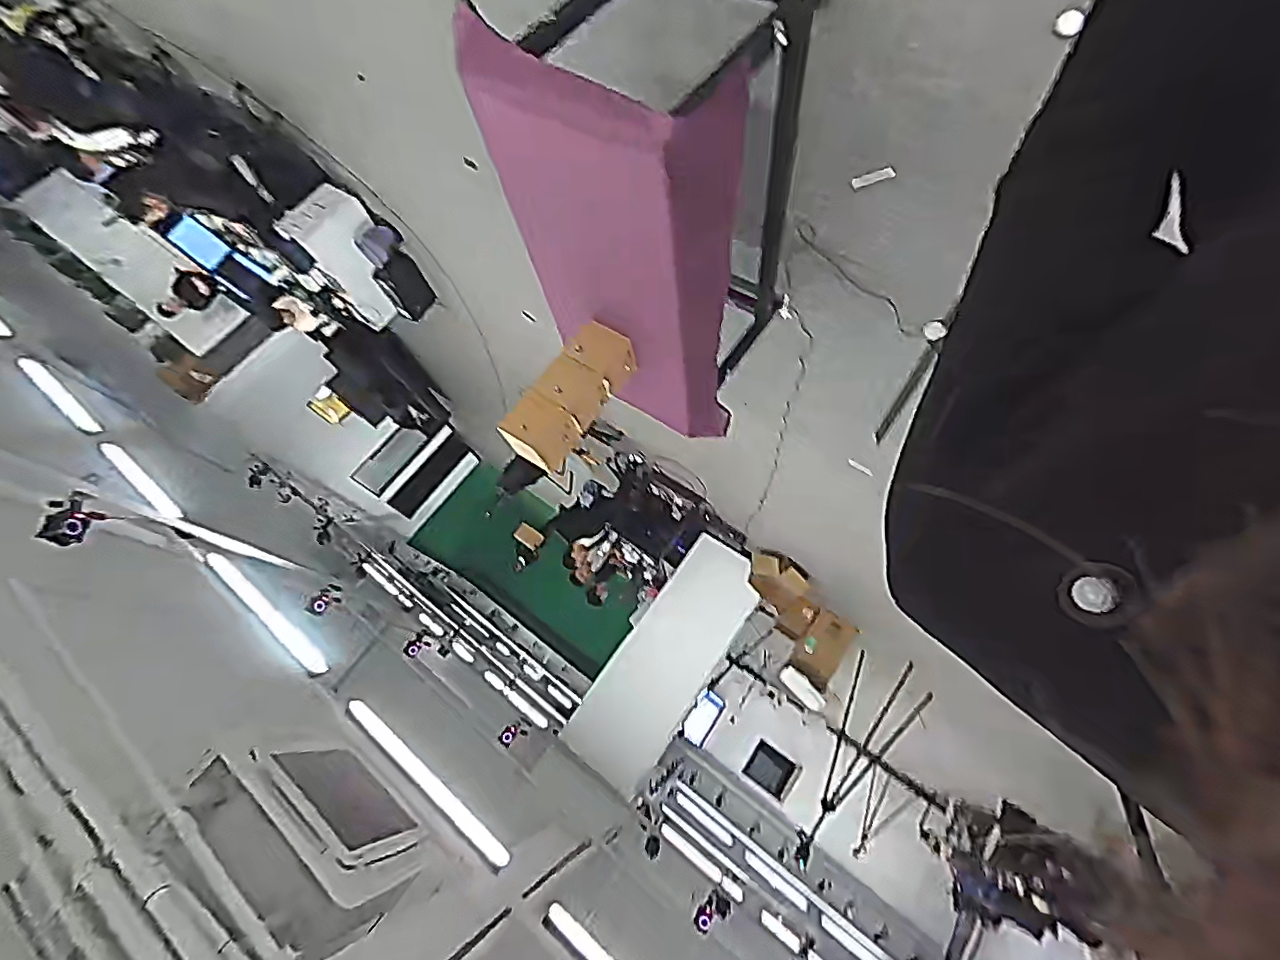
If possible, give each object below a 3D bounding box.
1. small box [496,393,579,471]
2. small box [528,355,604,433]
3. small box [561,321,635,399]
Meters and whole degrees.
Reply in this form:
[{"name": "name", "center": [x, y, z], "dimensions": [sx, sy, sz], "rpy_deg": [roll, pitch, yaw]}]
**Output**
[{"name": "small box", "center": [-0.335, -0.165, 1.798], "dimensions": [0.179, 0.176, 0.168], "rpy_deg": [29, 162, 27]}, {"name": "small box", "center": [-0.238, -0.294, 1.826], "dimensions": [0.179, 0.176, 0.168], "rpy_deg": [32, 163, 24]}, {"name": "small box", "center": [-0.141, -0.420, 1.868], "dimensions": [0.179, 0.176, 0.168], "rpy_deg": [32, 164, 20]}]
